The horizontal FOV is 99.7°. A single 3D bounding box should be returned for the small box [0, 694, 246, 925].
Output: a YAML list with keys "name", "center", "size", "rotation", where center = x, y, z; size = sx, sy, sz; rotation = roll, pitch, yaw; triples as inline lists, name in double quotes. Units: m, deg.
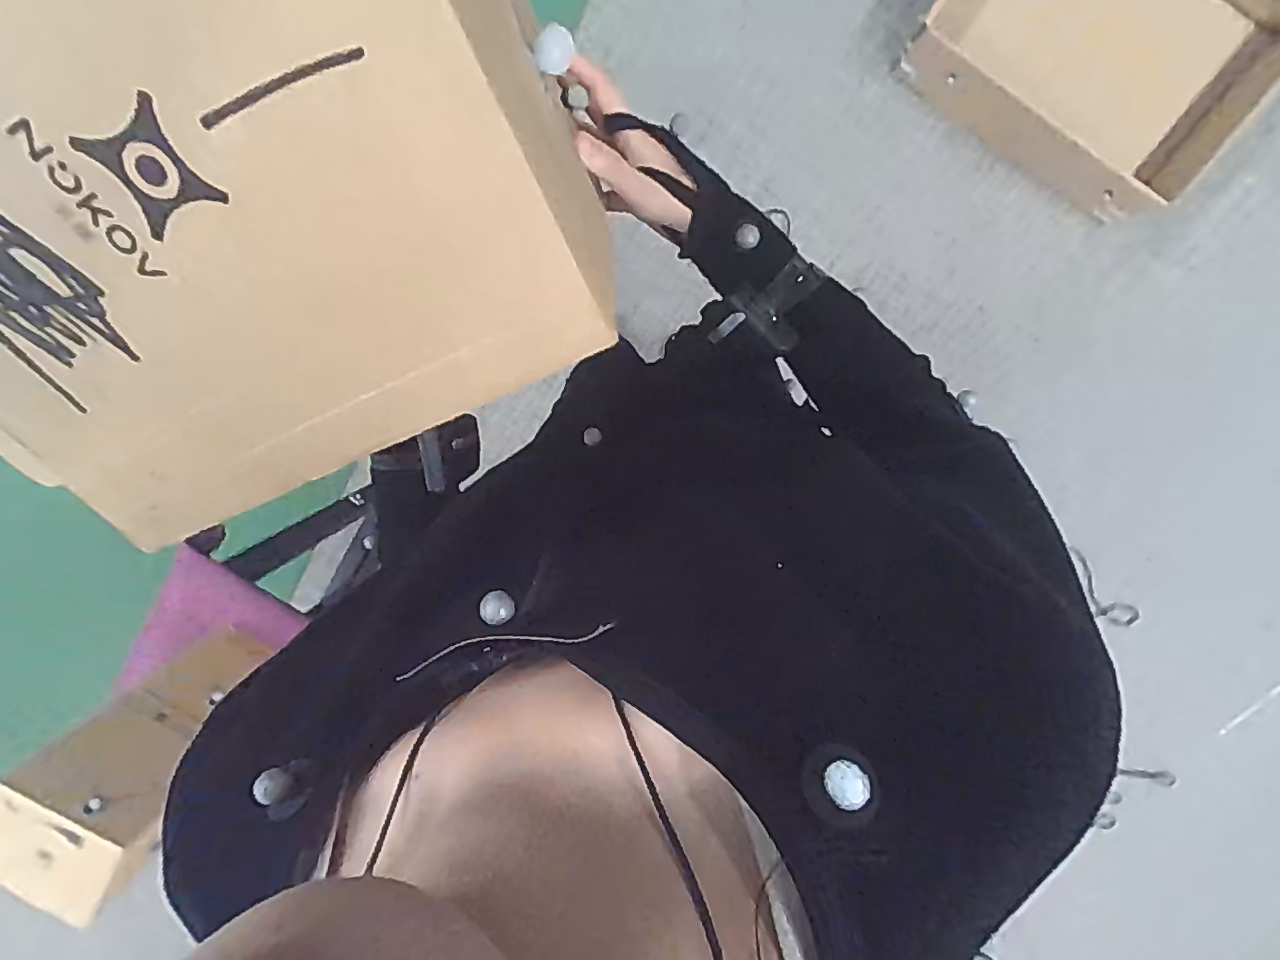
- name: "small box"
  center: [-0.692, 0.439, 0.740]
  size: [0.168, 0.176, 0.179]
  rotation: [33, 108, -5]

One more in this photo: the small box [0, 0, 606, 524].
- name: "small box"
  center: [-0.121, -0.118, 0.200]
  size: [0.179, 0.176, 0.168]
  rotation: [-21, 122, 11]

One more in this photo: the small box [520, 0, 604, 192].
- name: "small box"
  center: [-0.139, -0.305, 0.469]
  size: [0.168, 0.176, 0.179]
  rotation: [-21, 119, 11]
